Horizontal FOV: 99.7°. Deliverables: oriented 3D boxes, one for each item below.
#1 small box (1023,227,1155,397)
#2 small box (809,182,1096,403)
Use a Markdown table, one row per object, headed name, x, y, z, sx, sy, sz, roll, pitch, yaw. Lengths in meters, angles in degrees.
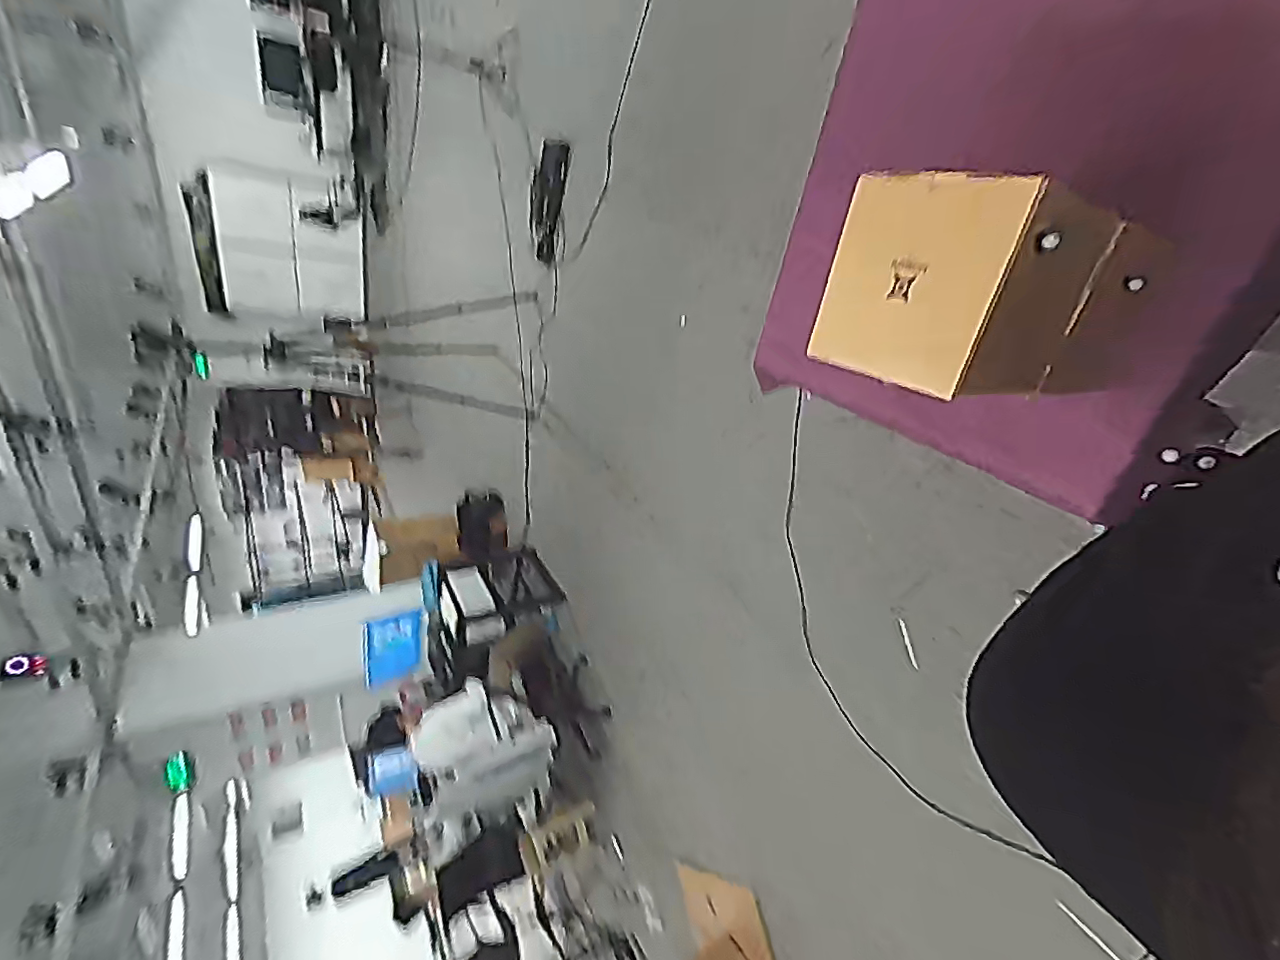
| name | x | y | z | sx | sy | sz | roll | pitch | yaw |
| --- | --- | --- | --- | --- | --- | --- | --- | --- | --- |
| small box | 0.442 | -0.204 | 0.634 | 0.179 | 0.176 | 0.168 | 40 | 126 | 46 |
| small box | 0.308 | -0.185 | 0.545 | 0.168 | 0.176 | 0.179 | 37 | 123 | 47 |
